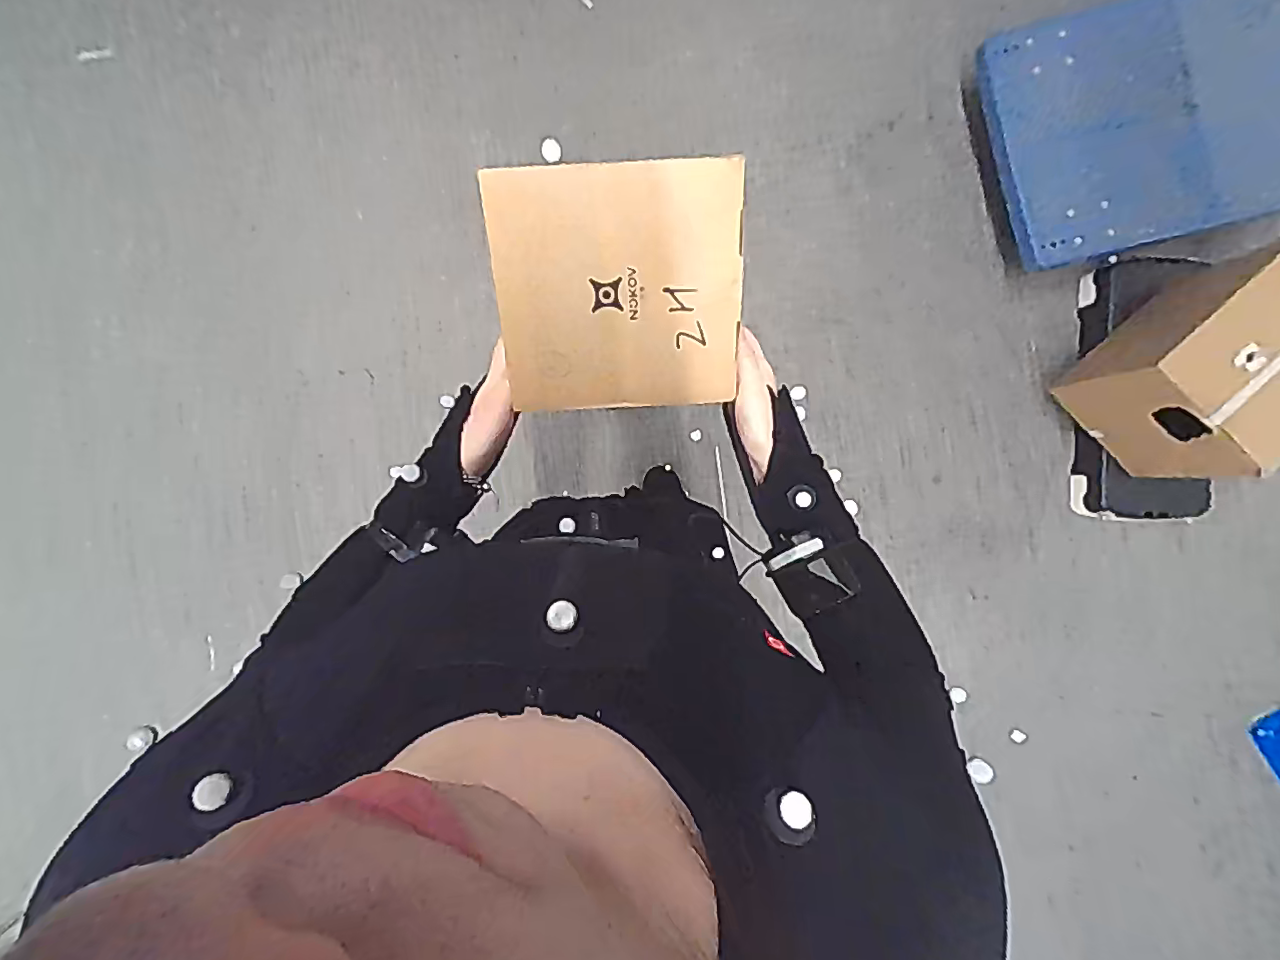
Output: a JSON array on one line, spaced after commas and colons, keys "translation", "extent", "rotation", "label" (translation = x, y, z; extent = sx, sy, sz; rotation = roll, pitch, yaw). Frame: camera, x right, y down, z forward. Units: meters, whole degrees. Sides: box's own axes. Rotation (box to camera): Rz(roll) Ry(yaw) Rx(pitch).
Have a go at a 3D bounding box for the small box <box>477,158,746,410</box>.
[{"translation": [-0.017, -0.166, 0.452], "extent": [0.179, 0.176, 0.168], "rotation": [-3, 118, 0], "label": "small box"}]
